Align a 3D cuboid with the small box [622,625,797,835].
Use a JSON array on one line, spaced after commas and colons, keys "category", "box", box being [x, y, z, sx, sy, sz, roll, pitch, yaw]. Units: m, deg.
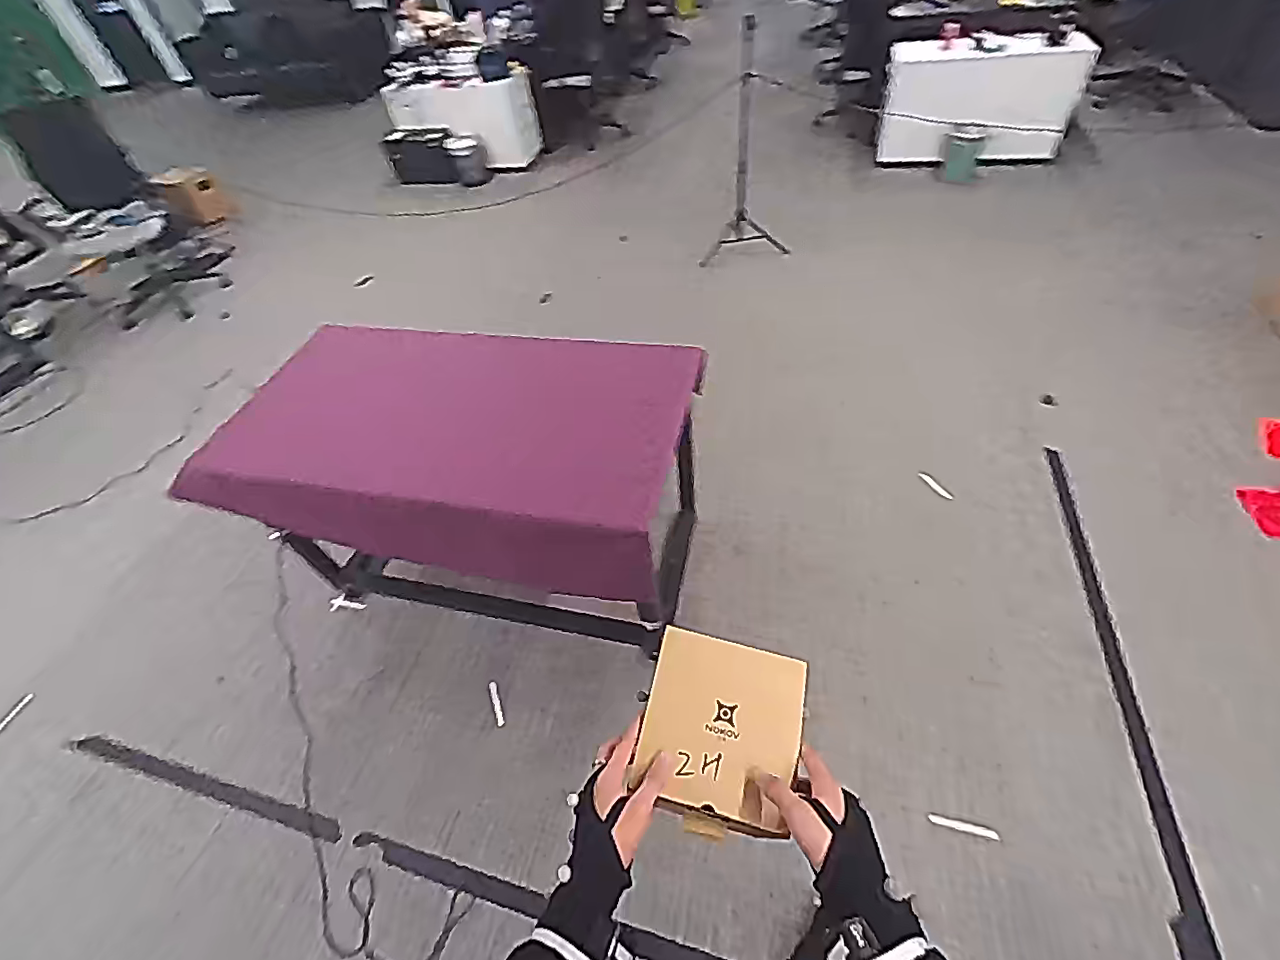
[{"category": "small box", "box": [0.077, 0.300, 0.645, 0.168, 0.176, 0.179, 12, 57, 7]}]
